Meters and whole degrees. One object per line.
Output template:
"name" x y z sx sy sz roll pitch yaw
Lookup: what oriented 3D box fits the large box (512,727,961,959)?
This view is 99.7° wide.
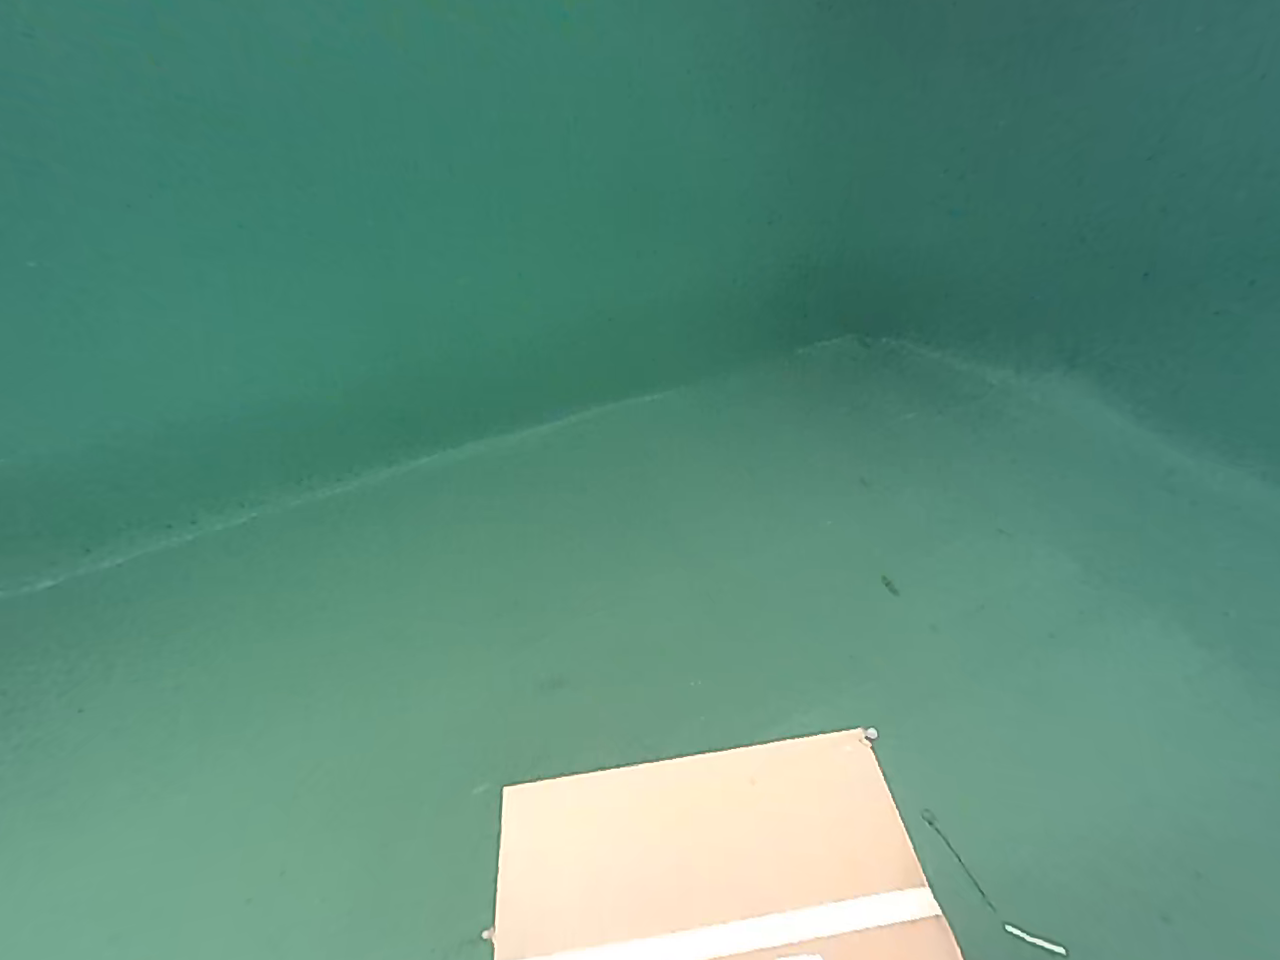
"large box" 0.089 0.522 0.599 0.408 0.320 0.320 -9 45 -2
